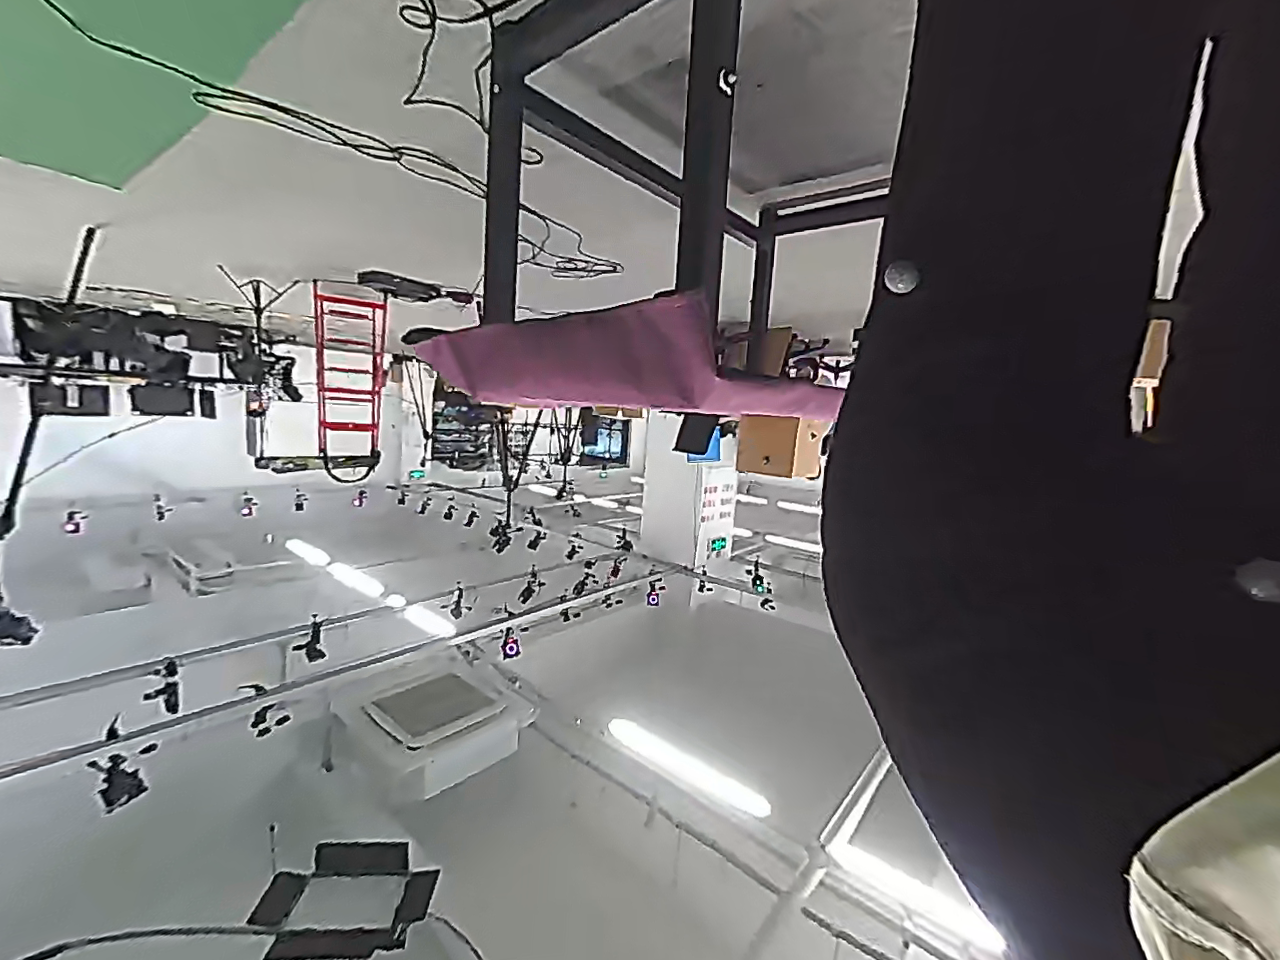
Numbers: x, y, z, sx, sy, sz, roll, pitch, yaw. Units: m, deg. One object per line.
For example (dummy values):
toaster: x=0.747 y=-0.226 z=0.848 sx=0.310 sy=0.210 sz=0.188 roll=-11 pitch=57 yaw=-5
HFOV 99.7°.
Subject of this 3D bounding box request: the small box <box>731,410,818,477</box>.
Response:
small box: x=0.374 y=-0.103 z=1.499 sx=0.179 sy=0.176 sz=0.168 roll=9 pitch=-171 yaw=41
